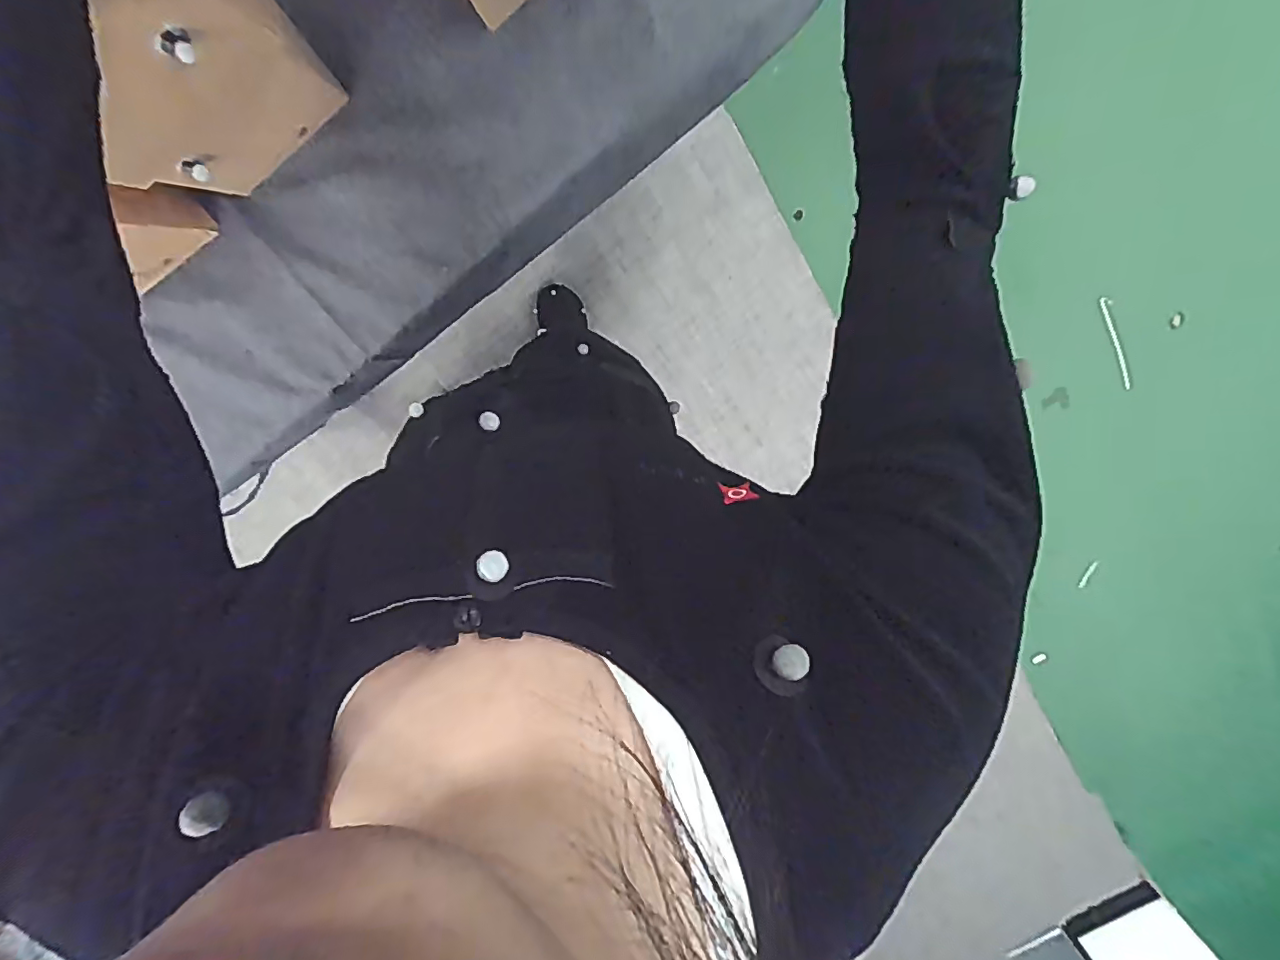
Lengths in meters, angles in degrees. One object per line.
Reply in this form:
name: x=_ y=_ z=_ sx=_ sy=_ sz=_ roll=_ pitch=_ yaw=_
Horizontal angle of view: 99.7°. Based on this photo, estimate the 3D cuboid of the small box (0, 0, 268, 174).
small box: x=-0.382 y=-0.328 z=0.338 sx=0.179 sy=0.176 sz=0.168 roll=-37 pitch=111 yaw=10
